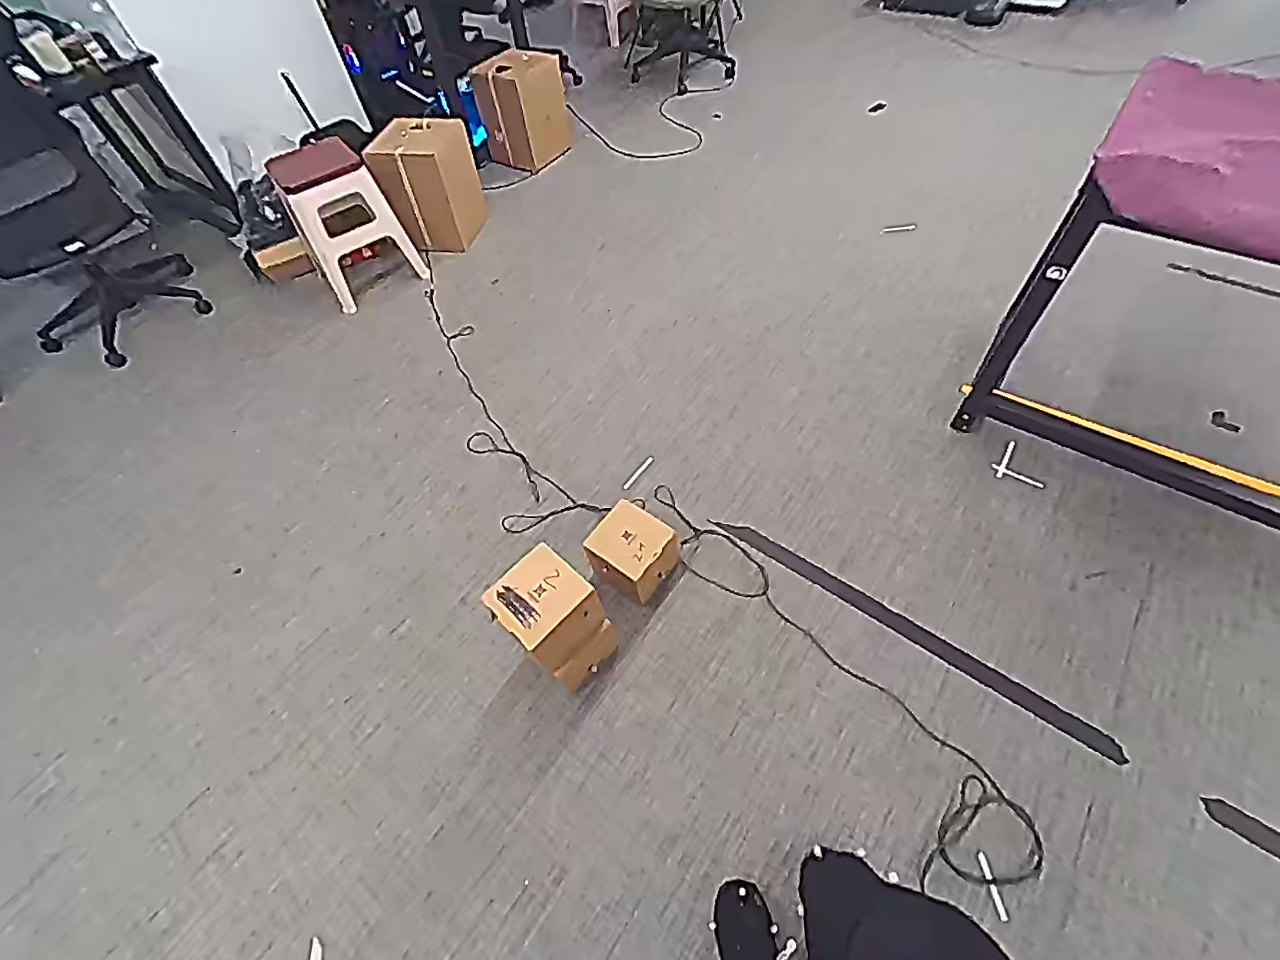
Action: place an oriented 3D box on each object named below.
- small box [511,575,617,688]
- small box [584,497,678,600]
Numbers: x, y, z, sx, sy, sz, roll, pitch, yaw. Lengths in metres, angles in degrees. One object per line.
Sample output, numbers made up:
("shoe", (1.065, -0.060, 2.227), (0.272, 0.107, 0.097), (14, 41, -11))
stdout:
("small box", (-0.174, 0.366, 1.290), (0.179, 0.176, 0.168), (37, 67, 25))
("small box", (-0.018, 0.182, 1.400), (0.179, 0.176, 0.168), (32, 66, 23))
